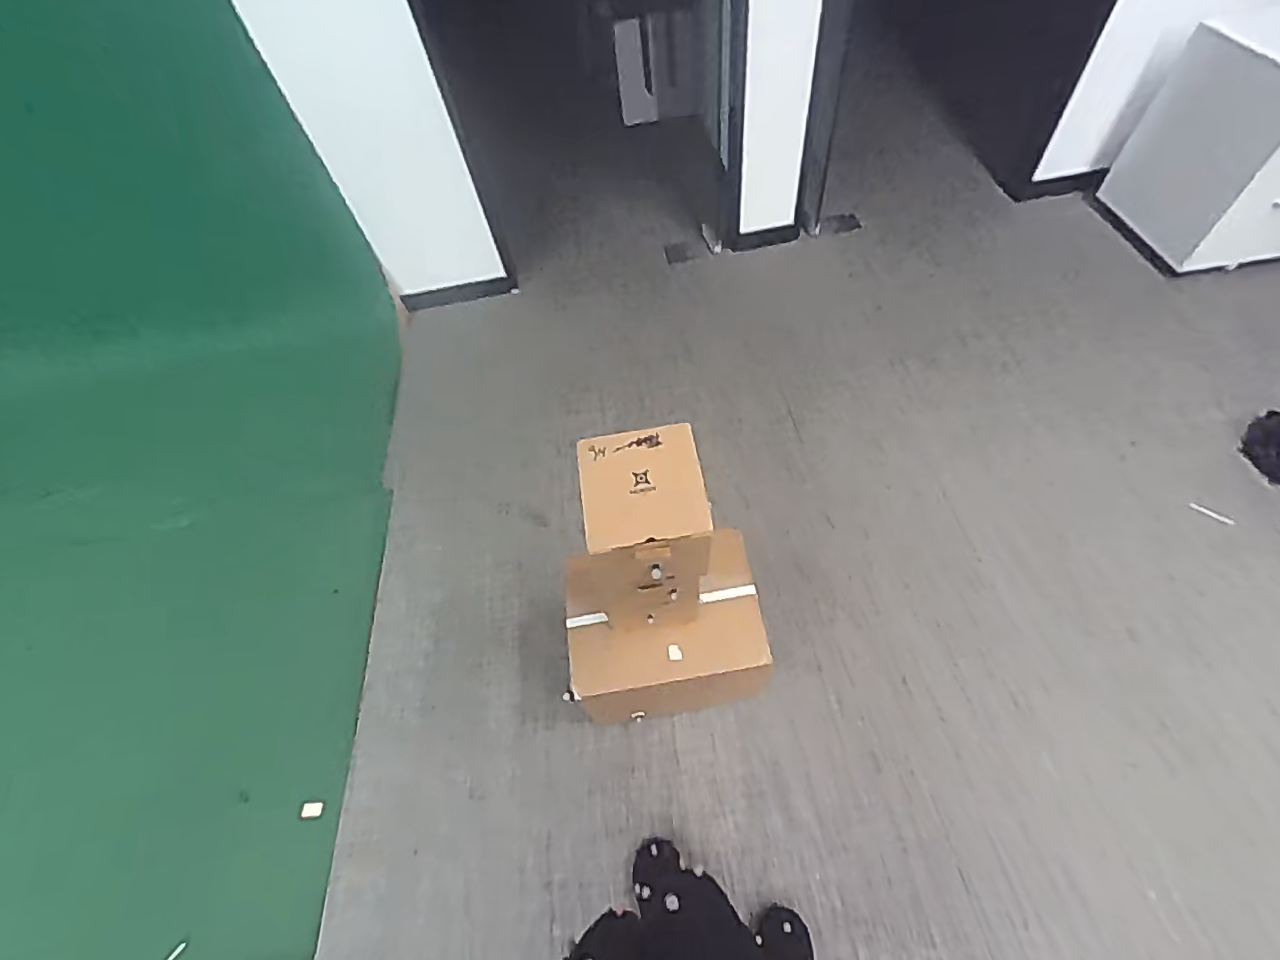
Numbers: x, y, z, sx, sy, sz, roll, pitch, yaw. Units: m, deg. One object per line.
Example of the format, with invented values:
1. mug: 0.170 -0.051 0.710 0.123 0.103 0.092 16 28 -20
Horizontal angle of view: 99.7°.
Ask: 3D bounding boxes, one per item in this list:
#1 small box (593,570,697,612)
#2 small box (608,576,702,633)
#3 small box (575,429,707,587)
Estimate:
1. small box: 0.006 0.123 0.952 0.168 0.176 0.179 -10 61 0
2. small box: 0.021 0.200 1.094 0.179 0.176 0.168 -11 62 0
3. small box: 0.006 0.051 0.805 0.168 0.176 0.179 -10 62 1
